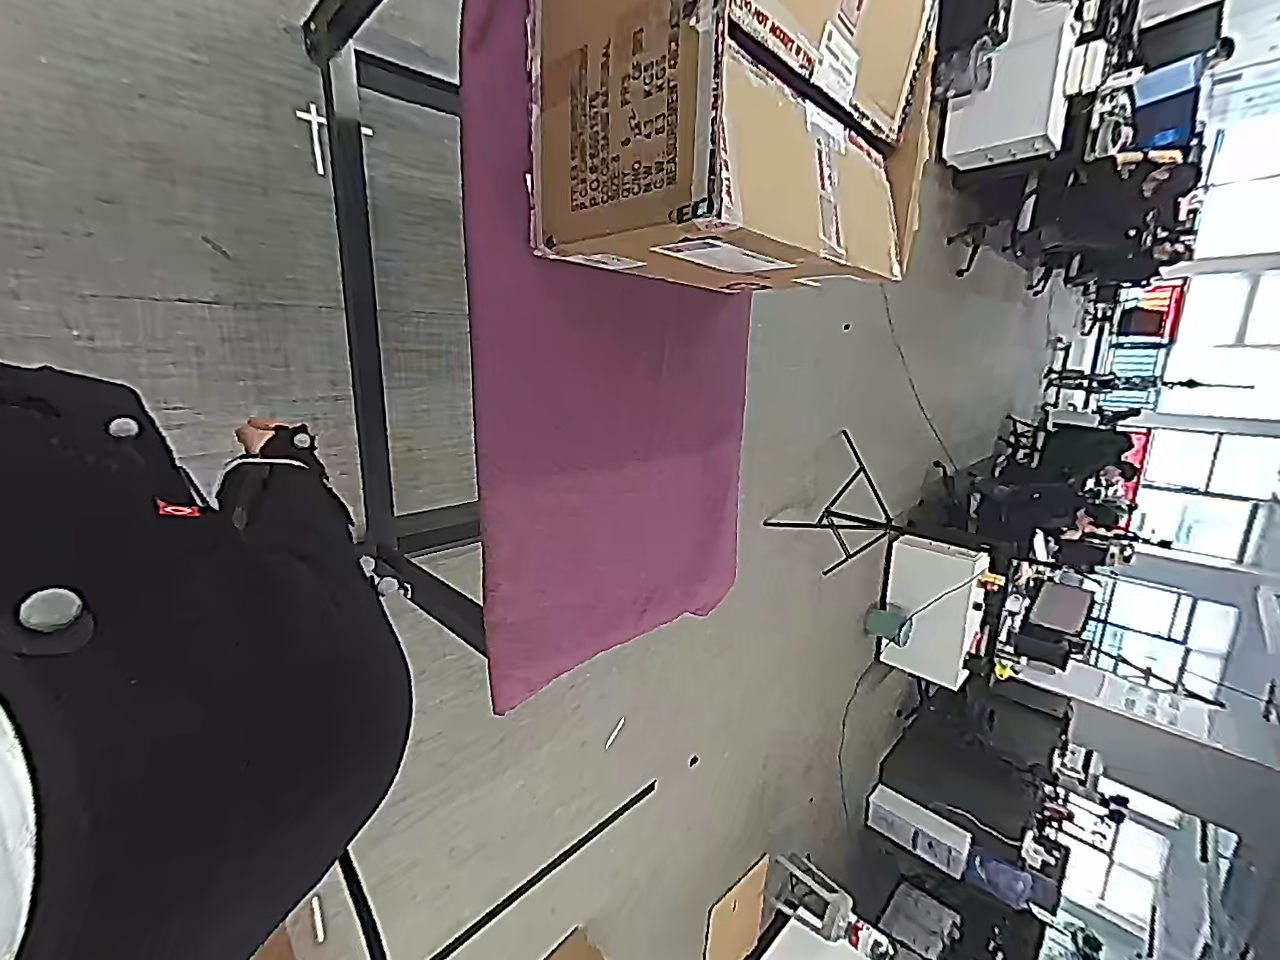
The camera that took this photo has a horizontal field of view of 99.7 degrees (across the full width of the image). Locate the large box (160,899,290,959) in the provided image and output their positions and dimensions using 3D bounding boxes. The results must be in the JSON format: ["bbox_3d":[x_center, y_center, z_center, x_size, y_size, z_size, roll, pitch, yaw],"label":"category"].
[{"bbox_3d":[-0.932,1.284,1.196,0.320,0.320,0.408,-14,109,-44],"label":"large box"}]
